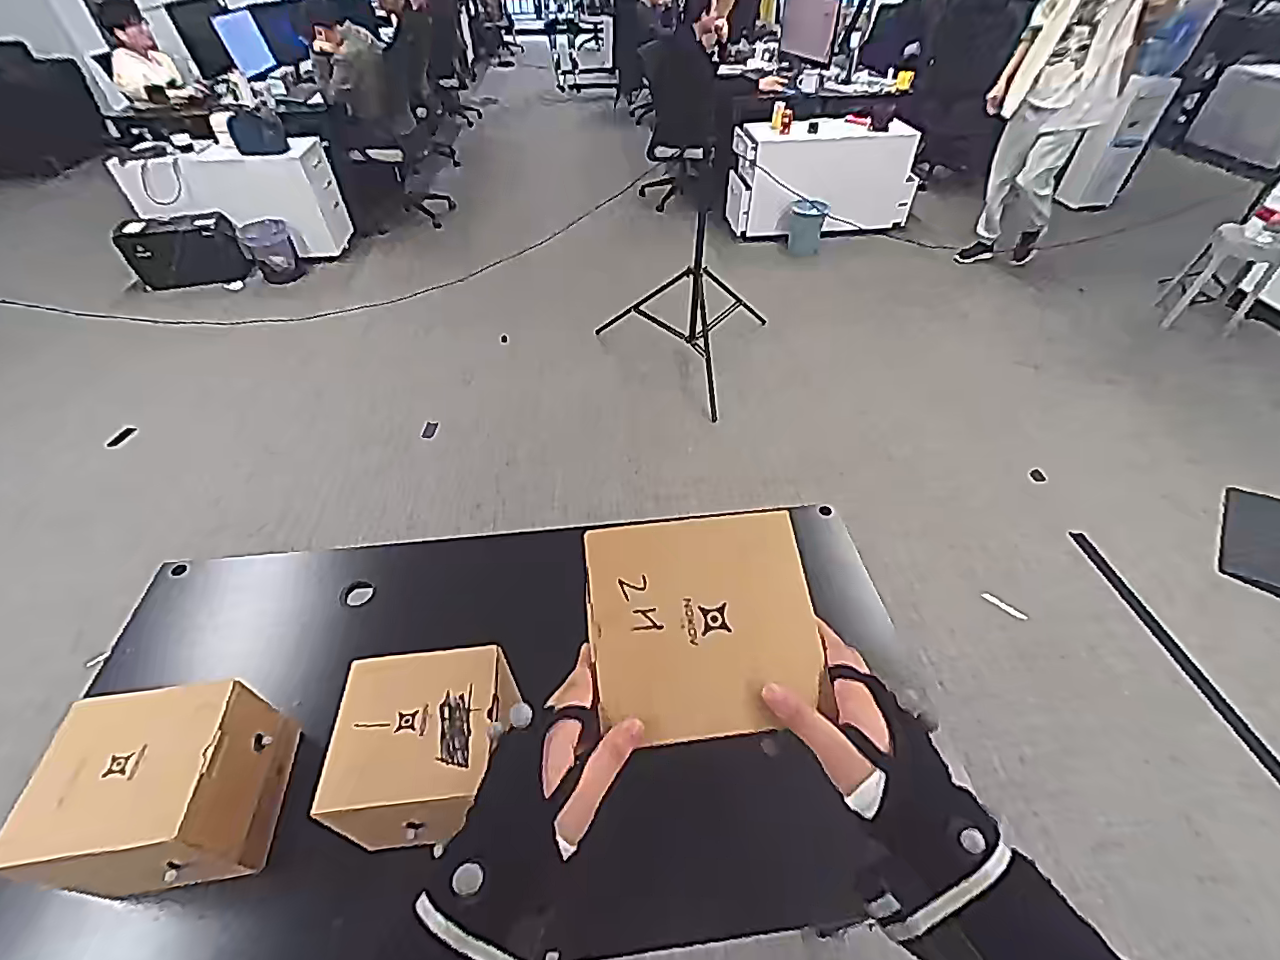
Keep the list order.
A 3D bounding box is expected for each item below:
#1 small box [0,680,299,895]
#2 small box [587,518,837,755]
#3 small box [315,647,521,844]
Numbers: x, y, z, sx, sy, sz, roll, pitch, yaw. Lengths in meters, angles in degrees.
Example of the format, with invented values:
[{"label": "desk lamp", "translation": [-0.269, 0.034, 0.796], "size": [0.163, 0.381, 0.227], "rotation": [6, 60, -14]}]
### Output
[{"label": "small box", "translation": [-0.538, 0.358, 0.630], "size": [0.179, 0.176, 0.168], "rotation": [-7, 45, -6]}, {"label": "small box", "translation": [0.048, 0.145, 0.490], "size": [0.179, 0.176, 0.168], "rotation": [-6, 65, -4]}, {"label": "small box", "translation": [-0.246, 0.324, 0.658], "size": [0.179, 0.176, 0.168], "rotation": [-5, 46, -3]}]
